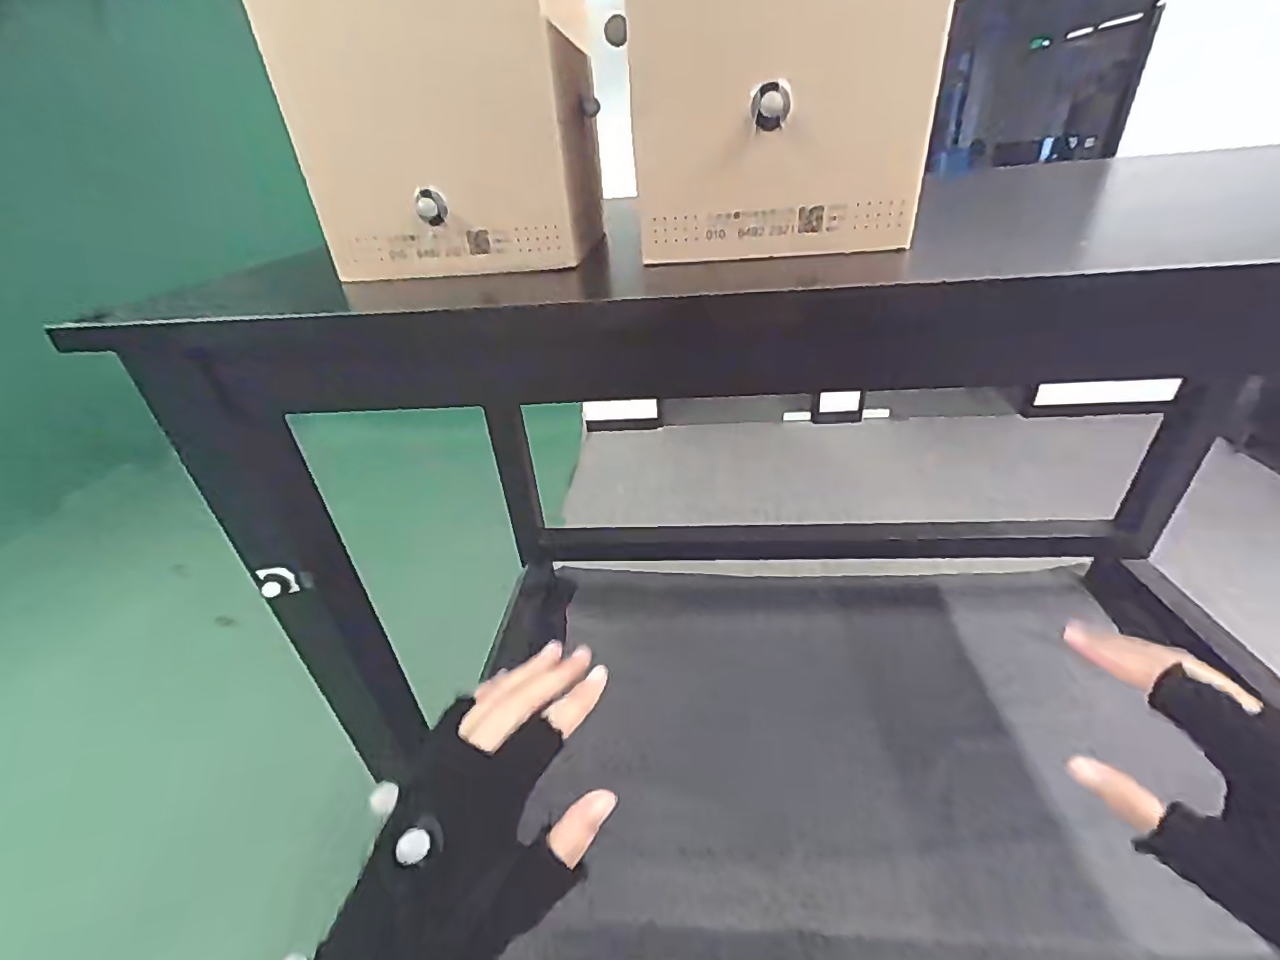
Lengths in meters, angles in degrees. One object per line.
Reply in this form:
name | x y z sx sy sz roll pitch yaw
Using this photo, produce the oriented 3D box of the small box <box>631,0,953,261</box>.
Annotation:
small box | 0.089 -0.248 0.362 0.168 0.176 0.179 0 32 7
